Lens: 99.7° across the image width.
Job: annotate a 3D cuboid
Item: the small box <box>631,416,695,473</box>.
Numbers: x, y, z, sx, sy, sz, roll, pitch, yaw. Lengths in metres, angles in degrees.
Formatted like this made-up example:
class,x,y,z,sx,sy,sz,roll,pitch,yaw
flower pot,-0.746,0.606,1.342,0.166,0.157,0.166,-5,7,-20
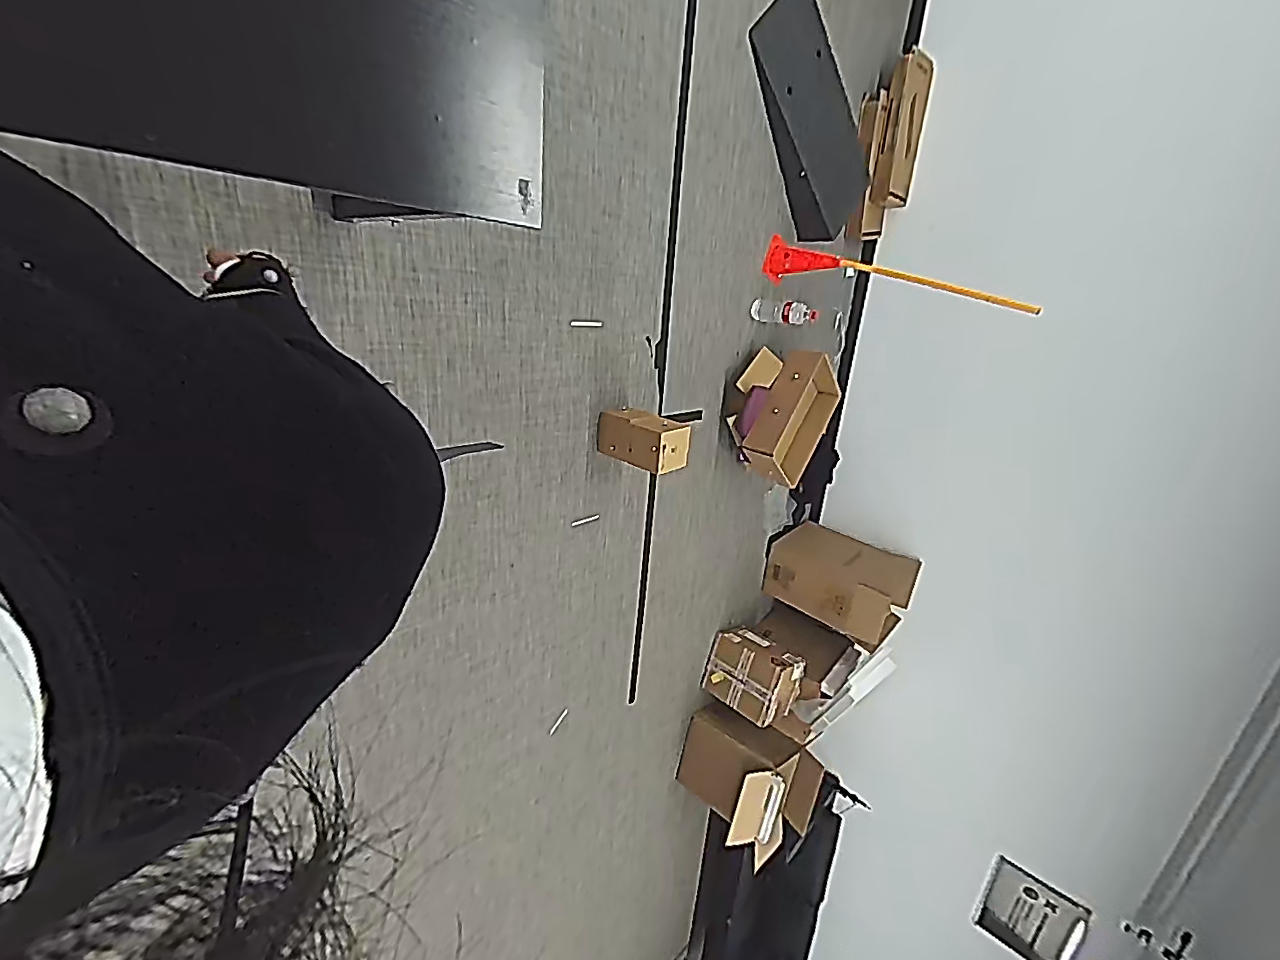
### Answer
class,x,y,z,sx,sy,sz,roll,pitch,yaw
small box,0.087,-0.141,2.071,0.179,0.176,0.168,-19,121,-45

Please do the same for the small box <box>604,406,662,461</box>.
class,x,y,z,sx,sy,sz,roll,pitch,yaw
small box,-0.031,-0.190,2.173,0.168,0.176,0.179,-17,118,-45
